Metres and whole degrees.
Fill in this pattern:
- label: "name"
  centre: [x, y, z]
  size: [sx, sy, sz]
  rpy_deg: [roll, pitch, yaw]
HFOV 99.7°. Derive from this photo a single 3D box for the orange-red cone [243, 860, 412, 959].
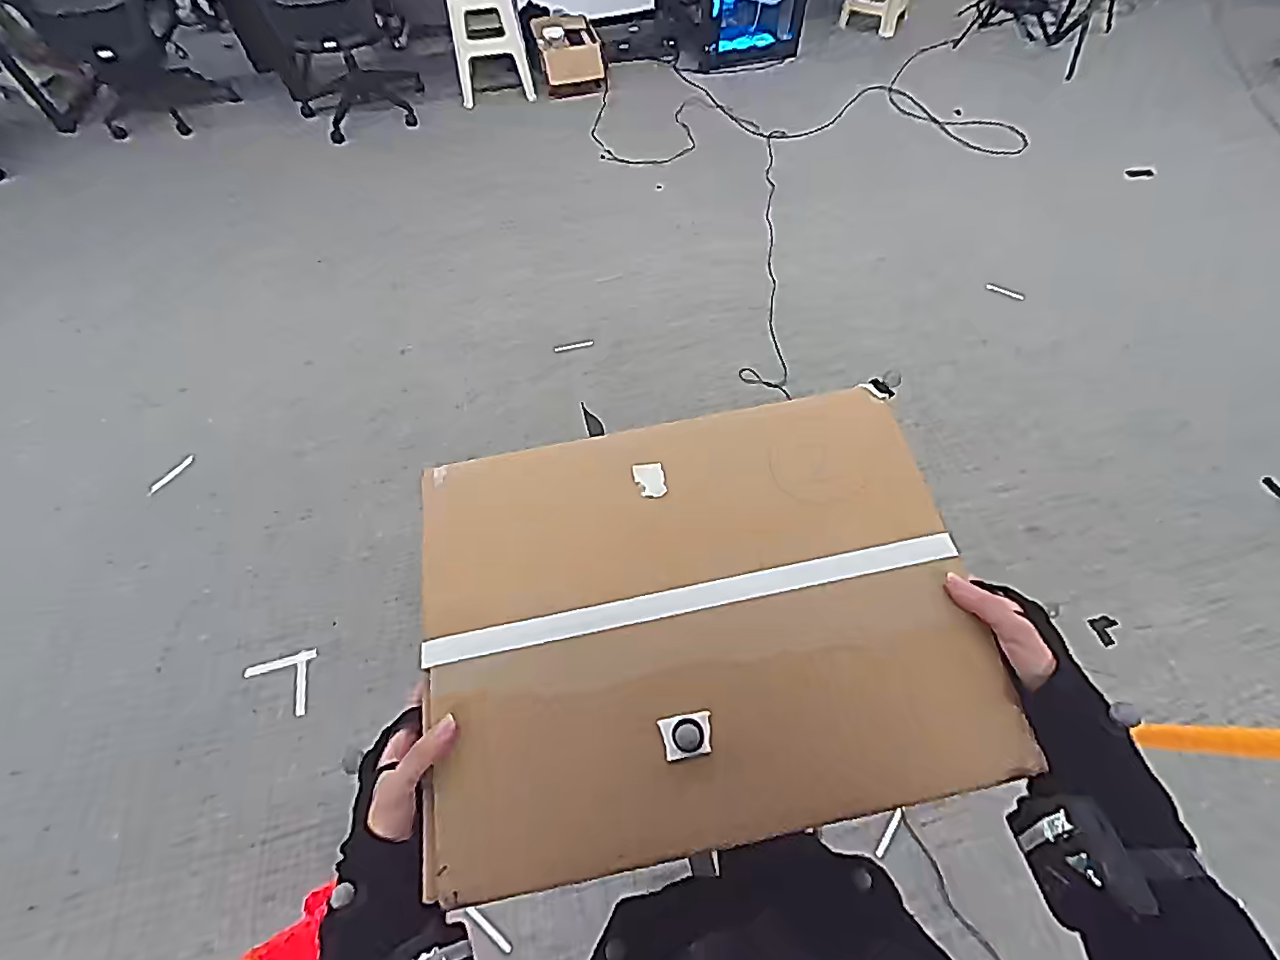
- label: "orange-red cone"
  centre: [-0.569, 0.810, 0.926]
  size: [0.199, 0.360, 0.198]
  rpy_deg: [-21, 59, -9]
